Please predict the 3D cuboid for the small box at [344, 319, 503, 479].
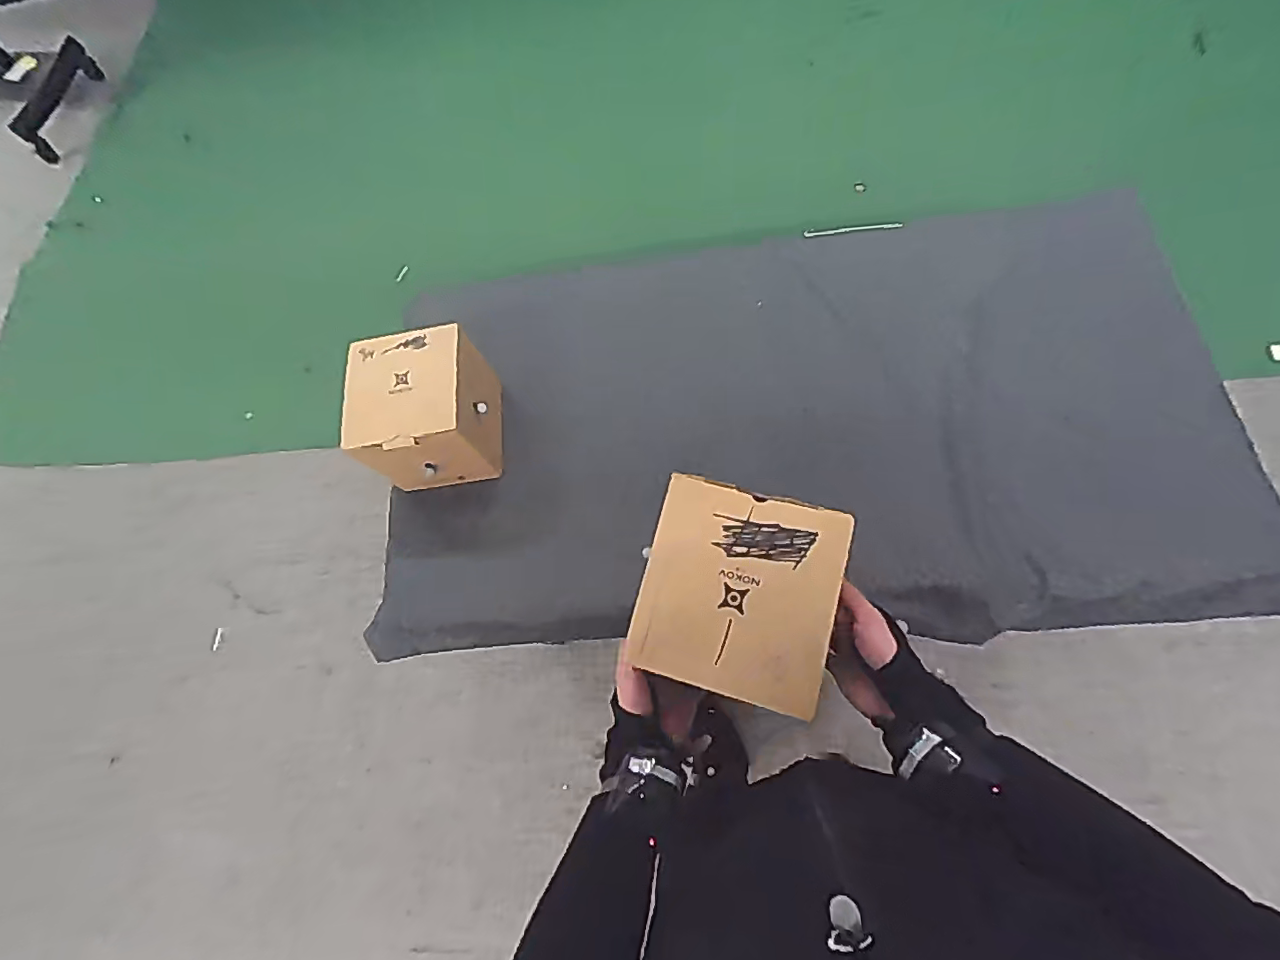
[{"bbox_3d":[-0.314,-0.110,0.817,0.168,0.176,0.179,-9,70,5],"label":"small box"}]
